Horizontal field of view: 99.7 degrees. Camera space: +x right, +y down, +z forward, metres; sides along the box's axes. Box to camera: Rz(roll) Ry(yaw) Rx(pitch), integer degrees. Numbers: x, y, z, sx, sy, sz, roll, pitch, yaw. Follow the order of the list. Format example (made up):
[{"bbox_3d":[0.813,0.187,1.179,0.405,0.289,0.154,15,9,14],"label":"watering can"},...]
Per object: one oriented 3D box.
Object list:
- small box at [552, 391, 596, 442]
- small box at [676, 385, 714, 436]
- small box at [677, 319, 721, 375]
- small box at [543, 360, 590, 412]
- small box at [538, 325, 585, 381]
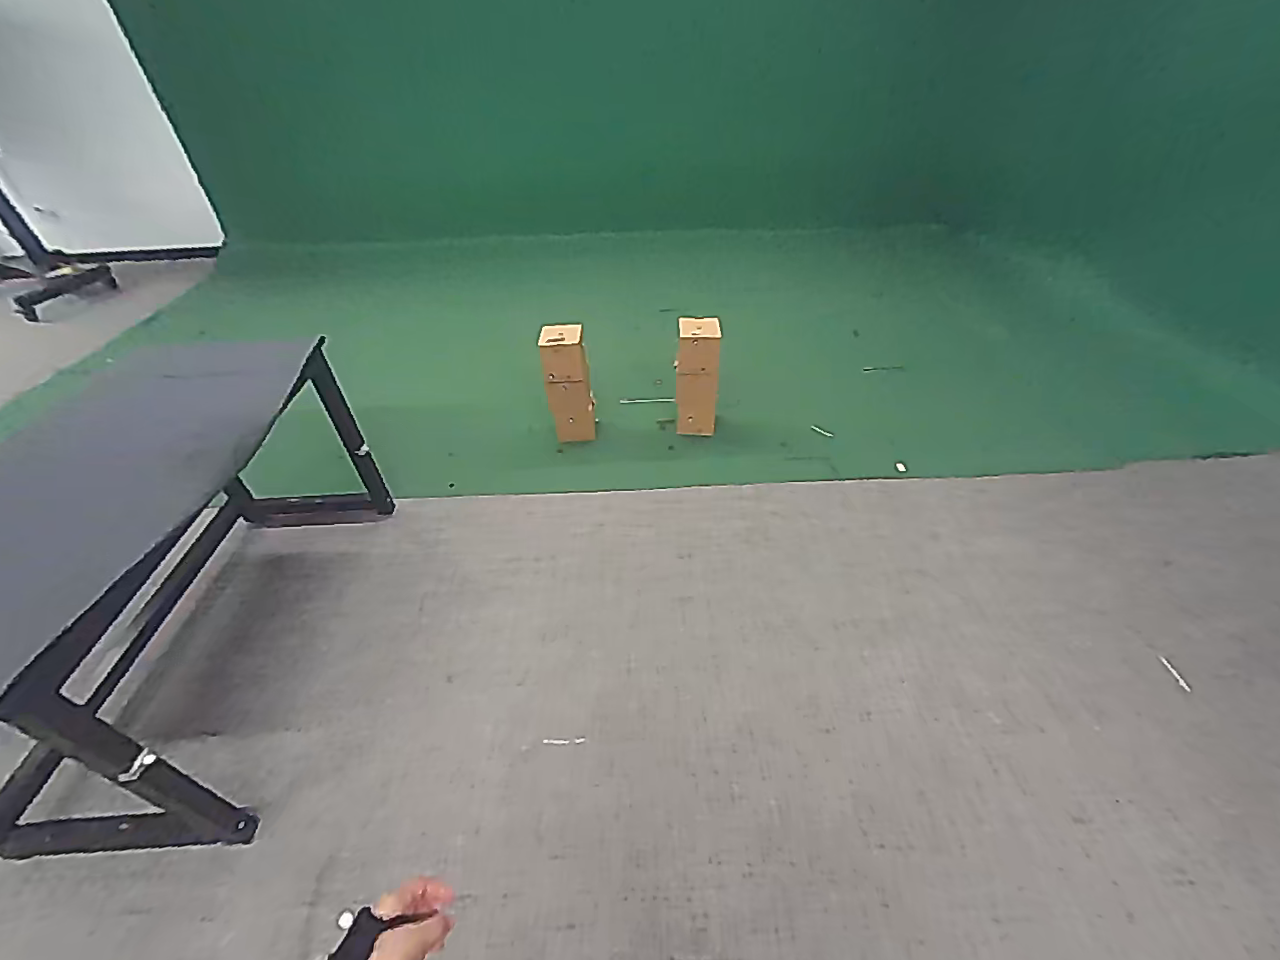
[{"bbox_3d":[-0.299,-0.288,2.466,0.179,0.176,0.168,-3,43,-1],"label":"small box"},{"bbox_3d":[0.254,-0.316,2.481,0.168,0.176,0.179,3,42,5],"label":"small box"},{"bbox_3d":[0.241,-0.555,2.255,0.168,0.176,0.179,1,41,1],"label":"small box"},{"bbox_3d":[-0.316,-0.408,2.357,0.179,0.176,0.168,-1,43,1],"label":"small box"},{"bbox_3d":[-0.319,-0.522,2.239,0.168,0.176,0.179,-2,42,1],"label":"small box"}]
